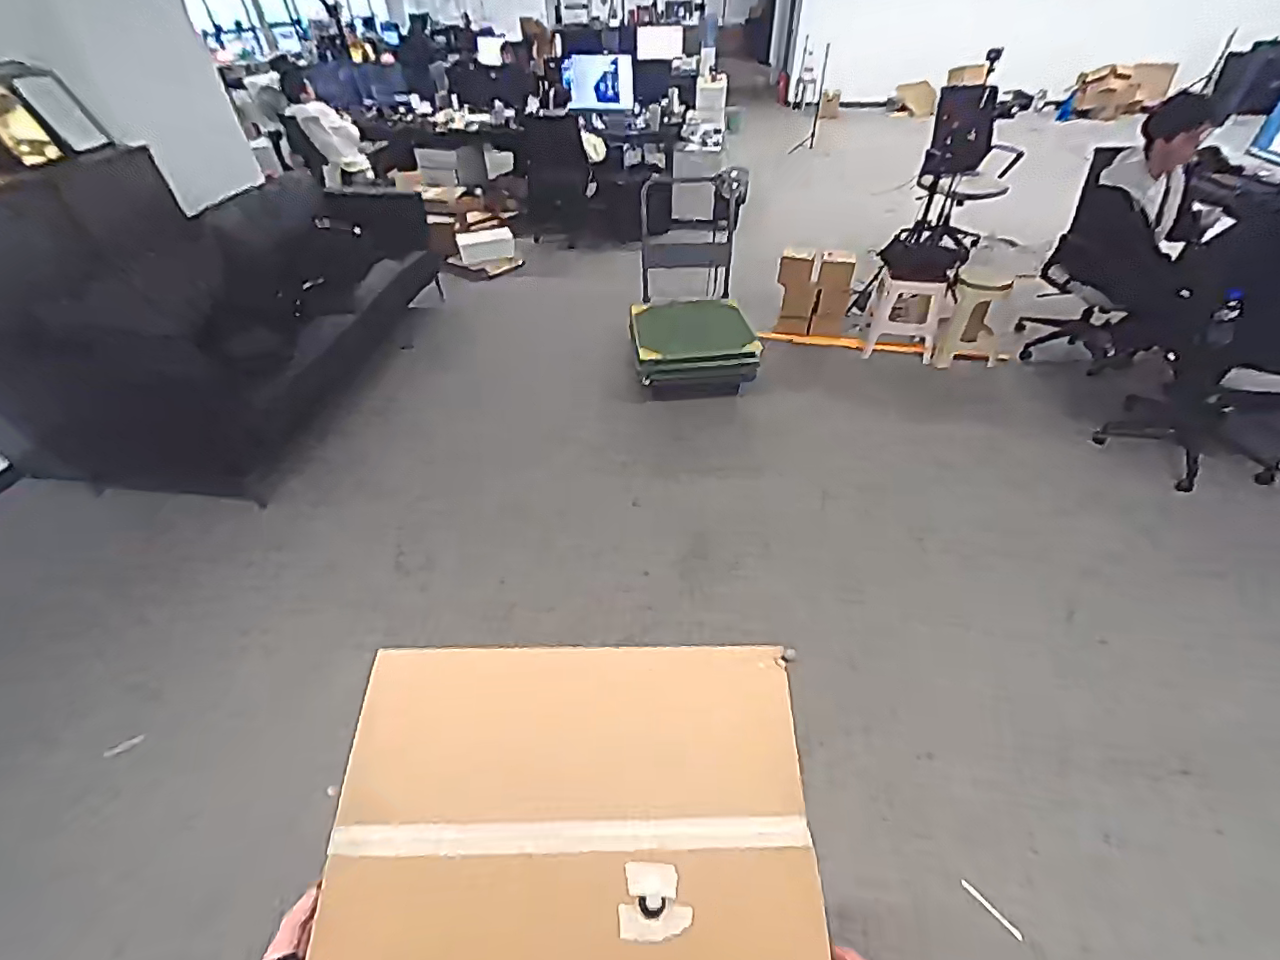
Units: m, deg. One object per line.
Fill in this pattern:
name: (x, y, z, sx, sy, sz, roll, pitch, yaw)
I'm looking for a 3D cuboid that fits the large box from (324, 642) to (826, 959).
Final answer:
large box: (-0.057, 0.378, 0.601, 0.408, 0.320, 0.320, 0, 59, -2)
